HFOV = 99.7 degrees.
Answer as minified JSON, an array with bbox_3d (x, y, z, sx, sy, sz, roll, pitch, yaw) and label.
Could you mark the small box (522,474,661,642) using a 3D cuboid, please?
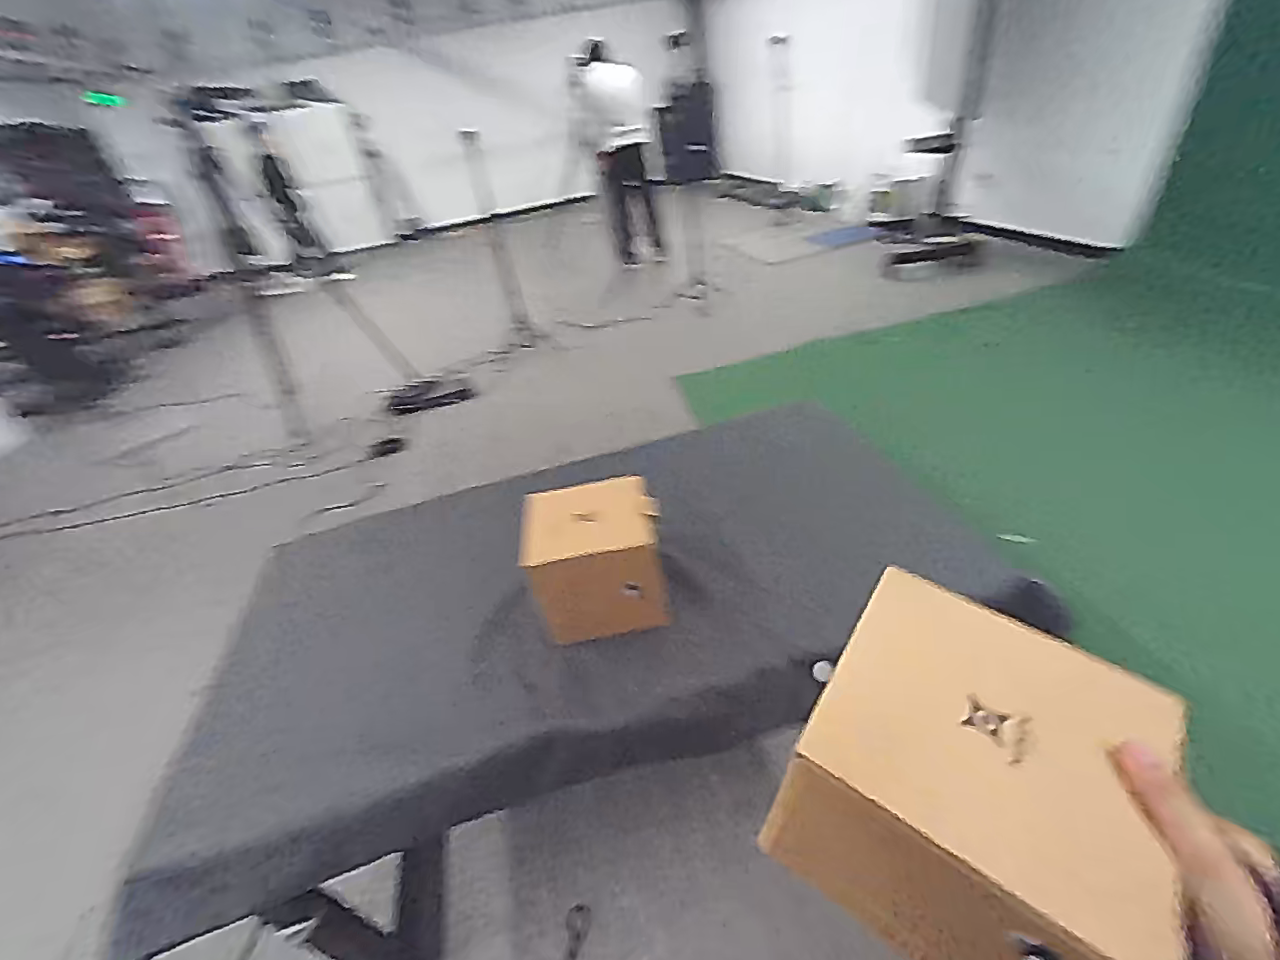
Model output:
[{"bbox_3d":[-0.068,0.118,0.821,0.179,0.176,0.168,-12,34,-1],"label":"small box"}]
